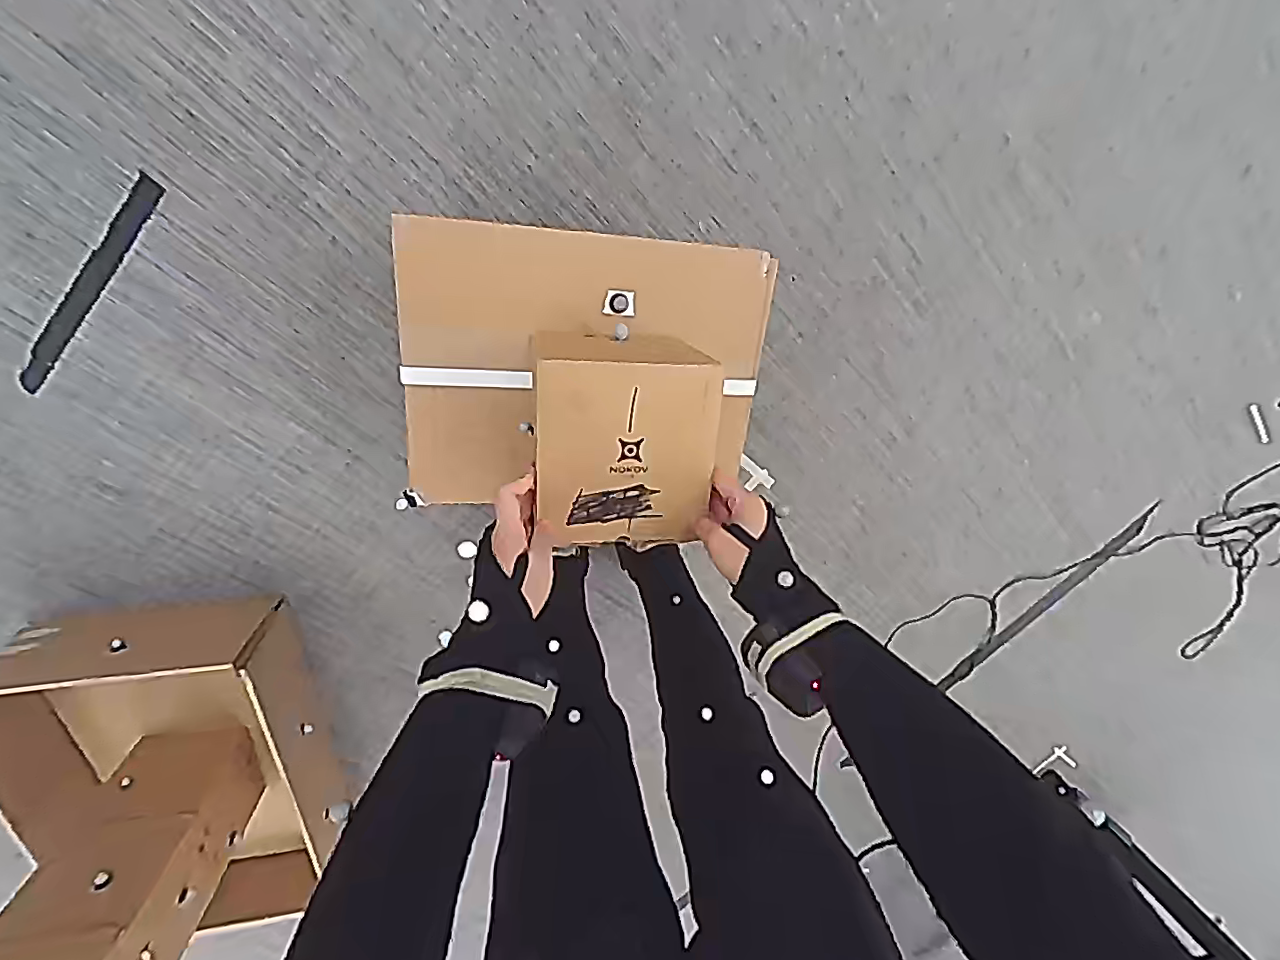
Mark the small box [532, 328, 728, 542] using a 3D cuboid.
[{"bbox_3d":[-0.024,-0.053,0.558,0.168,0.176,0.179,-1,112,-12],"label":"small box"}]

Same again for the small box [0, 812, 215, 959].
[{"bbox_3d":[-0.775,0.627,0.804,0.179,0.176,0.168,0,112,-12],"label":"small box"}]

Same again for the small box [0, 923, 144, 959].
[{"bbox_3d":[-0.752,0.684,0.652,0.179,0.176,0.168,-1,113,-11],"label":"small box"}]
